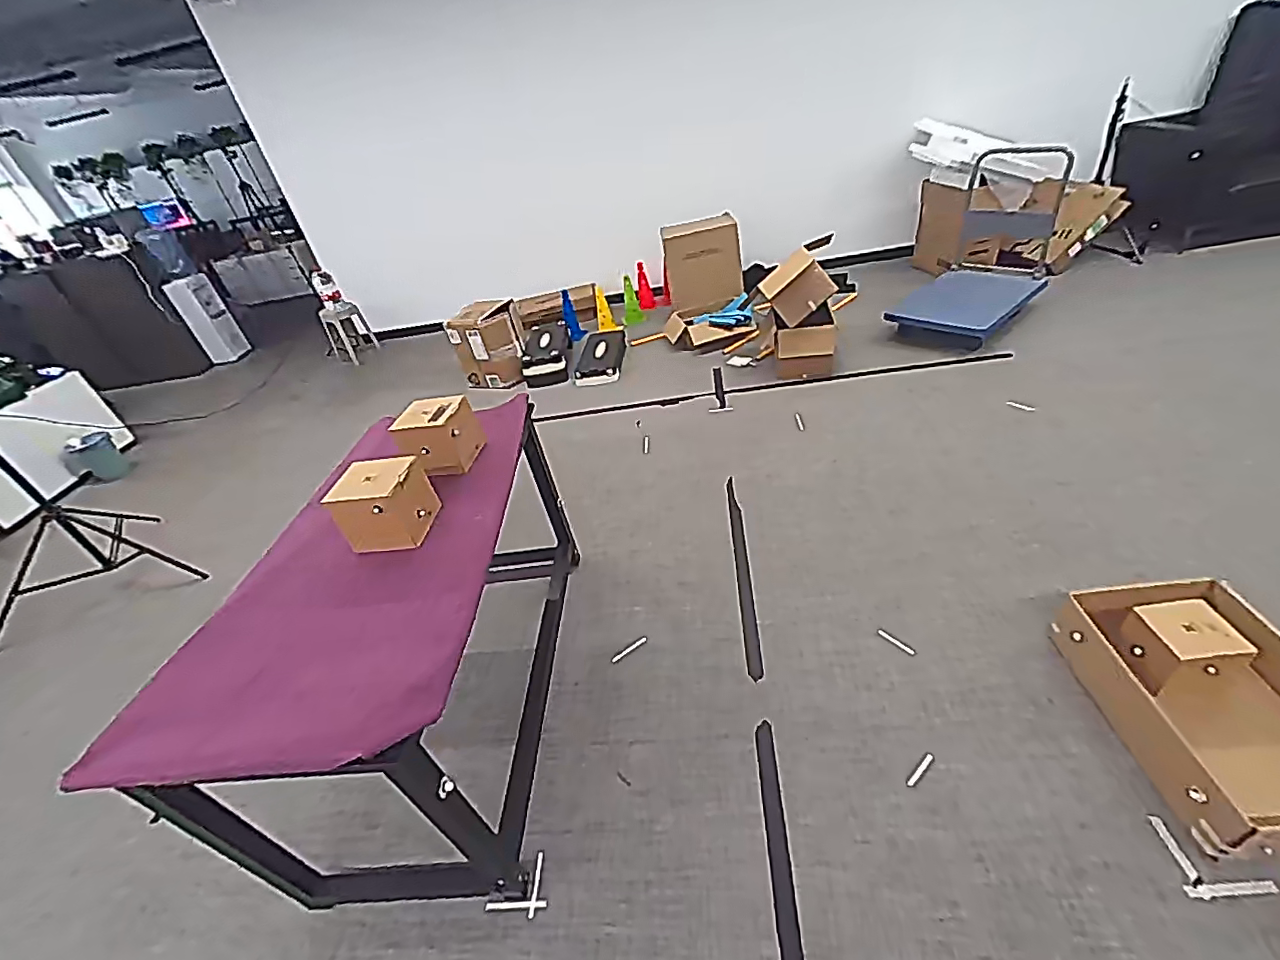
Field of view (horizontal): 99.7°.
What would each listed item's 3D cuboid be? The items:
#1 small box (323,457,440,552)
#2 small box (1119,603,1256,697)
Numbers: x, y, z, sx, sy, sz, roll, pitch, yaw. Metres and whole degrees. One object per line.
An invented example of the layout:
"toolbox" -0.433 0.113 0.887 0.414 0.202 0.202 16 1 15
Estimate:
"small box" -0.633 0.065 1.348 0.179 0.176 0.168 -6 36 9
"small box" 1.404 0.446 1.409 0.179 0.176 0.168 -8 37 5
